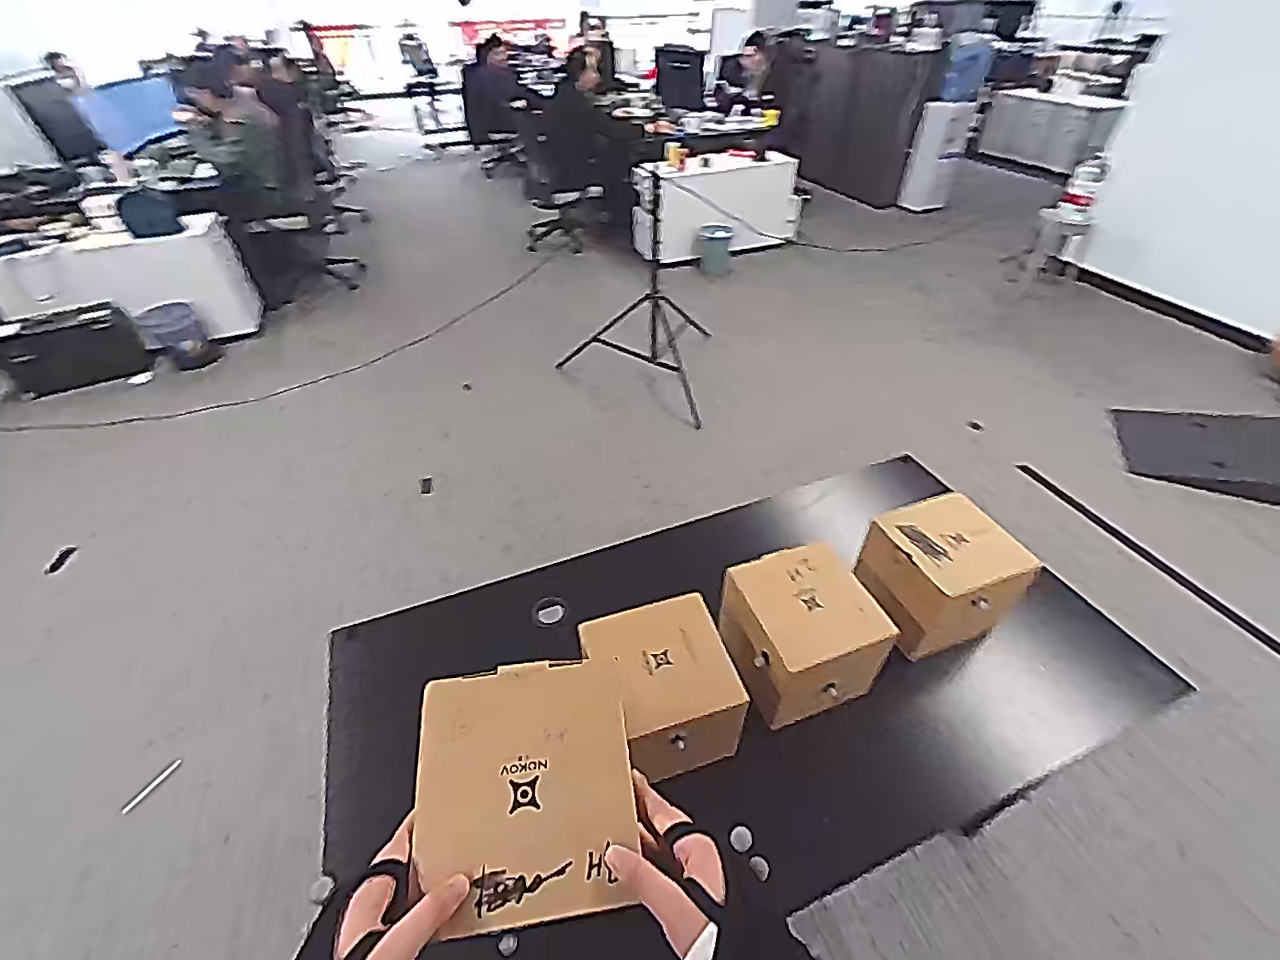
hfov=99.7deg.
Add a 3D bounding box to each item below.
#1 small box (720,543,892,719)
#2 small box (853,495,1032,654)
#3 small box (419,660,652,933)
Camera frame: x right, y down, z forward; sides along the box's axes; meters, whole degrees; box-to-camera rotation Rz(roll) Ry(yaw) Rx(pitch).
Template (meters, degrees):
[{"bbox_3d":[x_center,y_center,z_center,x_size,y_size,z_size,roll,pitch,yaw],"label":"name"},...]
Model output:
[{"bbox_3d":[0.233,0.229,0.807,0.168,0.176,0.179,-15,43,-14],"label":"small box"},{"bbox_3d":[0.472,0.155,0.880,0.179,0.176,0.168,-14,43,-14],"label":"small box"},{"bbox_3d":[-0.084,0.283,0.492,0.168,0.176,0.179,-5,55,-5],"label":"small box"}]
